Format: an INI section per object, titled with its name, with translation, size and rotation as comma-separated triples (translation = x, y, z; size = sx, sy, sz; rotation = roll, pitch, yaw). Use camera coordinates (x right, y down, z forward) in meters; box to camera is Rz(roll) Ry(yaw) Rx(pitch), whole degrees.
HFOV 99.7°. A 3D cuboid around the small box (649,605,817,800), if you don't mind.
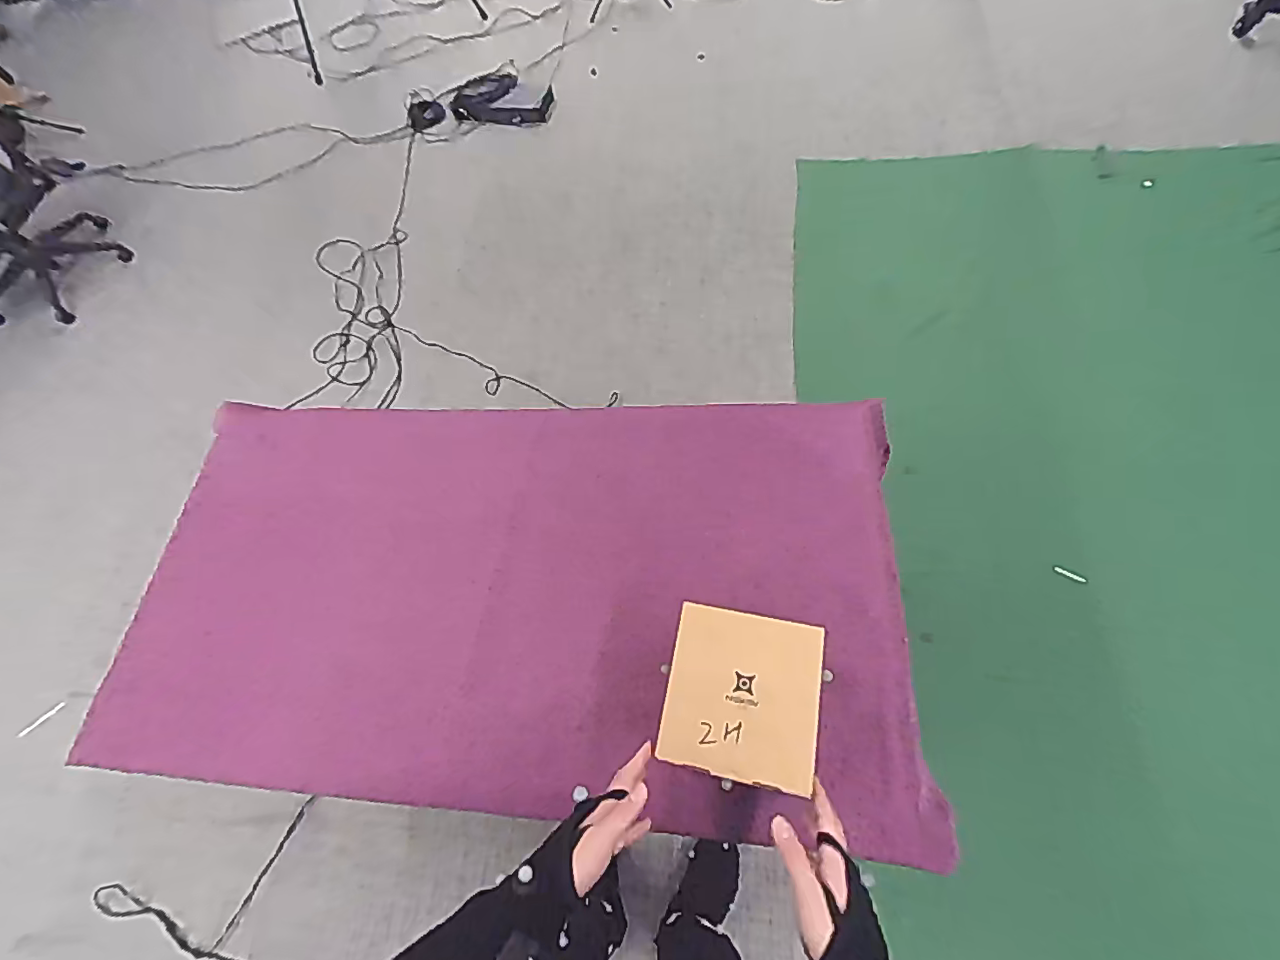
[small box]
translation = 0.117, 0.275, 0.675
size = 0.168, 0.176, 0.179
rotation = 8, 66, 14
